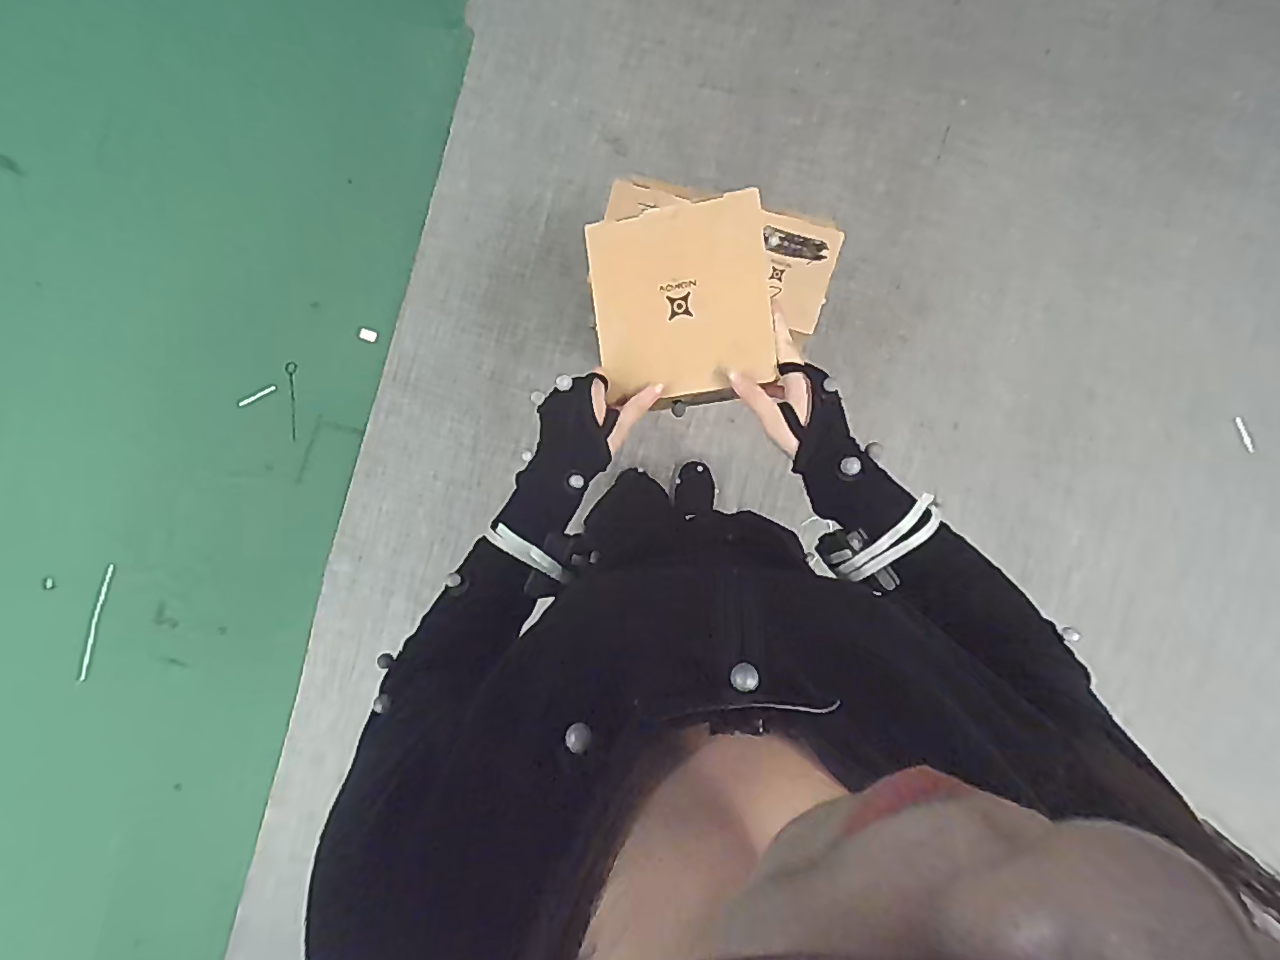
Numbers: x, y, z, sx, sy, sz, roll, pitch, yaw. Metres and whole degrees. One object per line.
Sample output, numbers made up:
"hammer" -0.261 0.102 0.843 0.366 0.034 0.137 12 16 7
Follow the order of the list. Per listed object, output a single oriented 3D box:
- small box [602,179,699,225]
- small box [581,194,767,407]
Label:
"small box" 0.016 -0.395 0.972 0.168 0.176 0.179 17 95 2
"small box" 0.049 -0.175 0.592 0.168 0.176 0.179 -6 93 13
